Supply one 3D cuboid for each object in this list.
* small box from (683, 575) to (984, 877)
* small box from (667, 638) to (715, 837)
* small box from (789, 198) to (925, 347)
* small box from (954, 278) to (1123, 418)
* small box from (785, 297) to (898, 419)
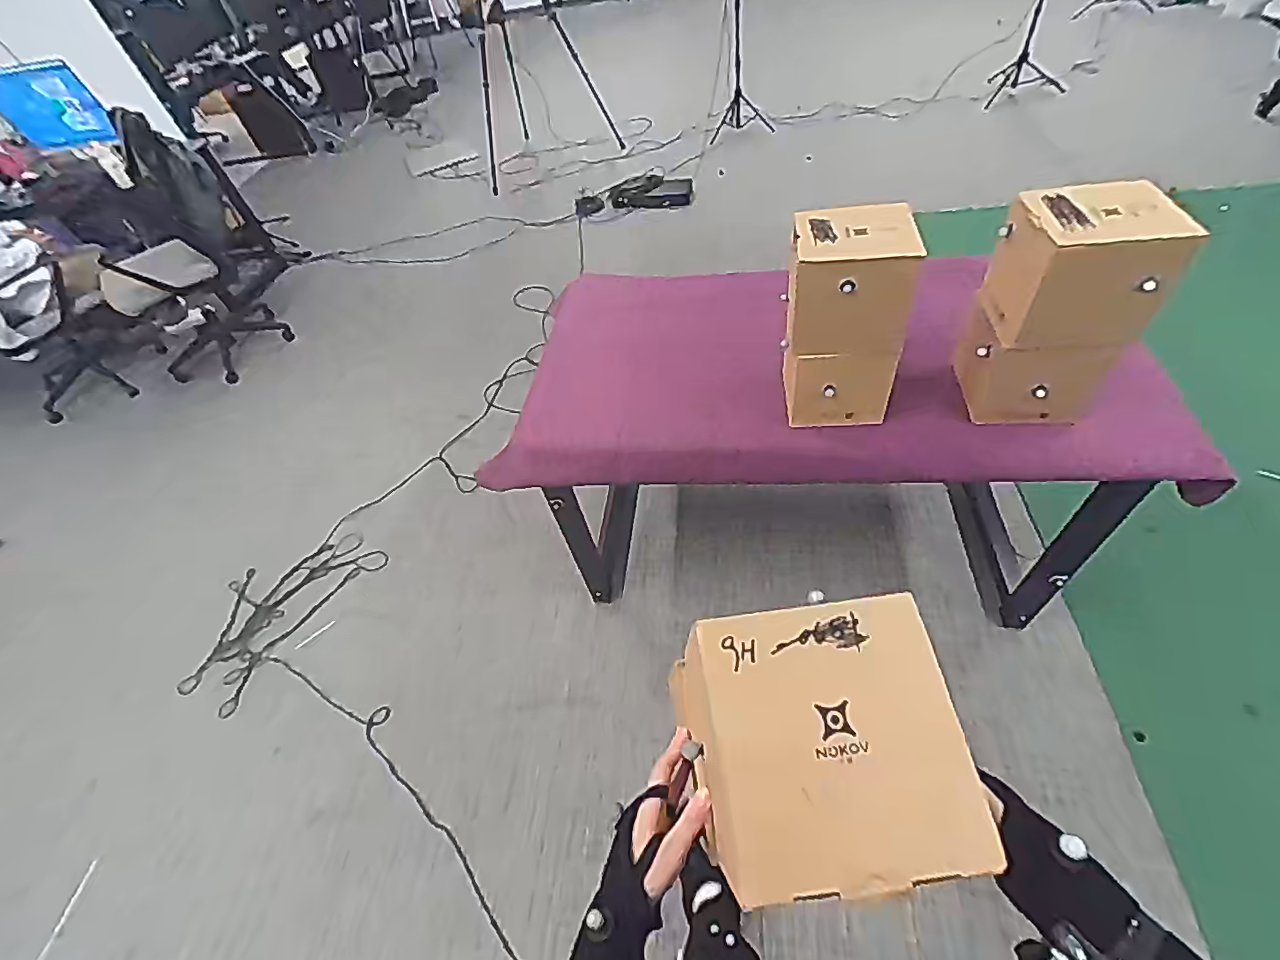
[{"bbox_3d":[0.129,0.190,0.442,0.168,0.176,0.179,-7,65,-1],"label":"small box"},{"bbox_3d":[0.125,0.264,0.590,0.168,0.176,0.179,-8,65,-3],"label":"small box"},{"bbox_3d":[0.335,-0.329,0.872,0.179,0.176,0.168,2,51,12],"label":"small box"},{"bbox_3d":[0.669,-0.223,0.933,0.168,0.176,0.179,2,51,12],"label":"small box"},{"bbox_3d":[0.360,-0.225,0.998,0.168,0.176,0.179,-1,49,10],"label":"small box"}]
